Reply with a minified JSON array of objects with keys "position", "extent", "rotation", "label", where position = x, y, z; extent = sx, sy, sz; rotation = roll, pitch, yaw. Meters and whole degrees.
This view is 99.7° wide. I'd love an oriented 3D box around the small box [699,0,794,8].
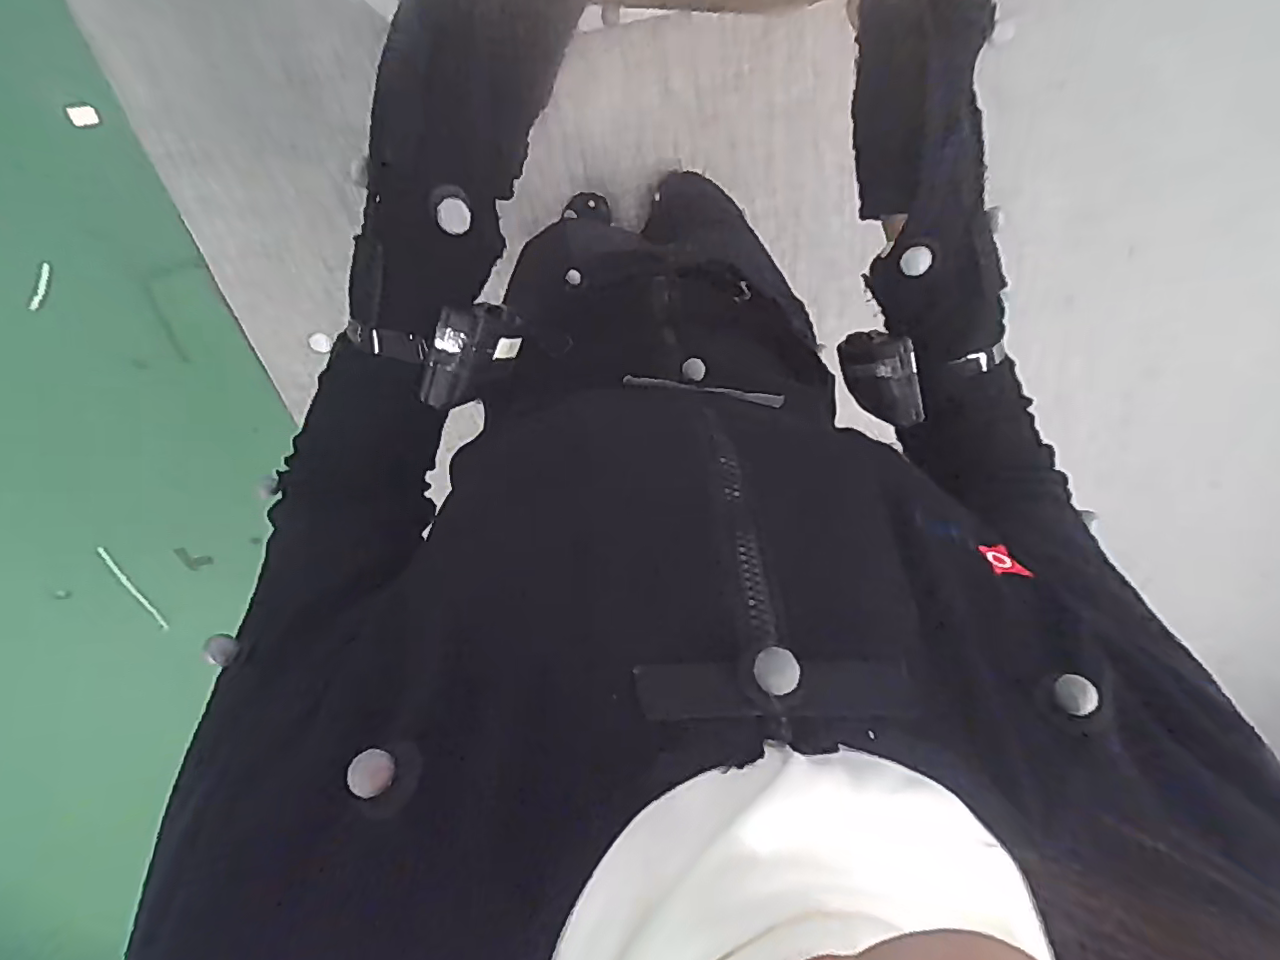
[{"position":[0.040,-0.361,0.266],"extent":[0.168,0.176,0.179],"rotation":[-4,122,-8],"label":"small box"}]
